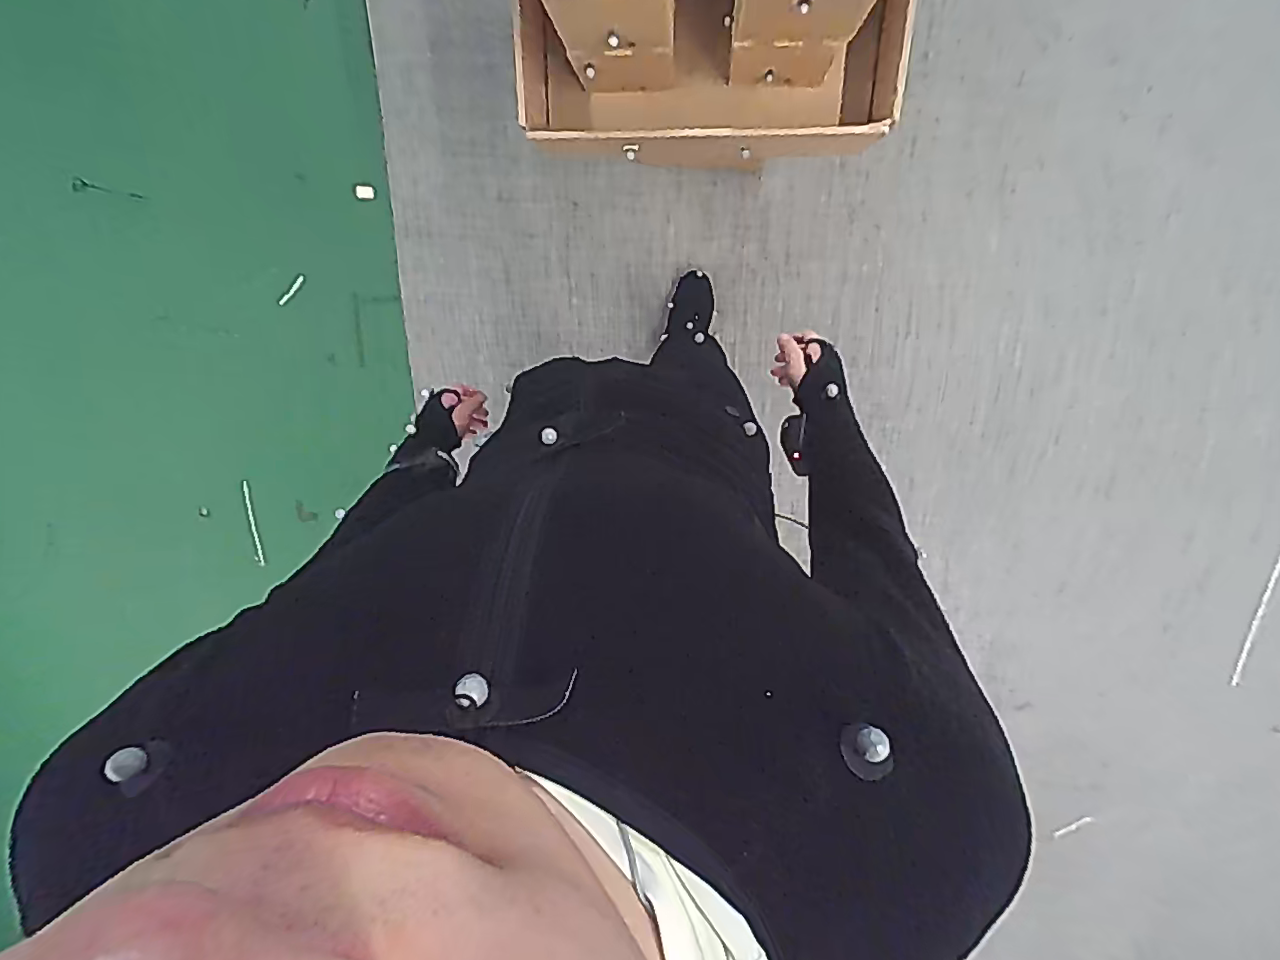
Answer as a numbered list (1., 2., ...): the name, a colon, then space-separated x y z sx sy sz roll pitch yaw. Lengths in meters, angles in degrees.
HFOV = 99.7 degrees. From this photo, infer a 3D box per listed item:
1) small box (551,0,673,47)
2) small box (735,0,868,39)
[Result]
1. small box: -0.039 -0.716 0.716 0.168 0.176 0.179 3 108 5
2. small box: 0.221 -0.704 0.698 0.179 0.176 0.168 4 110 3
